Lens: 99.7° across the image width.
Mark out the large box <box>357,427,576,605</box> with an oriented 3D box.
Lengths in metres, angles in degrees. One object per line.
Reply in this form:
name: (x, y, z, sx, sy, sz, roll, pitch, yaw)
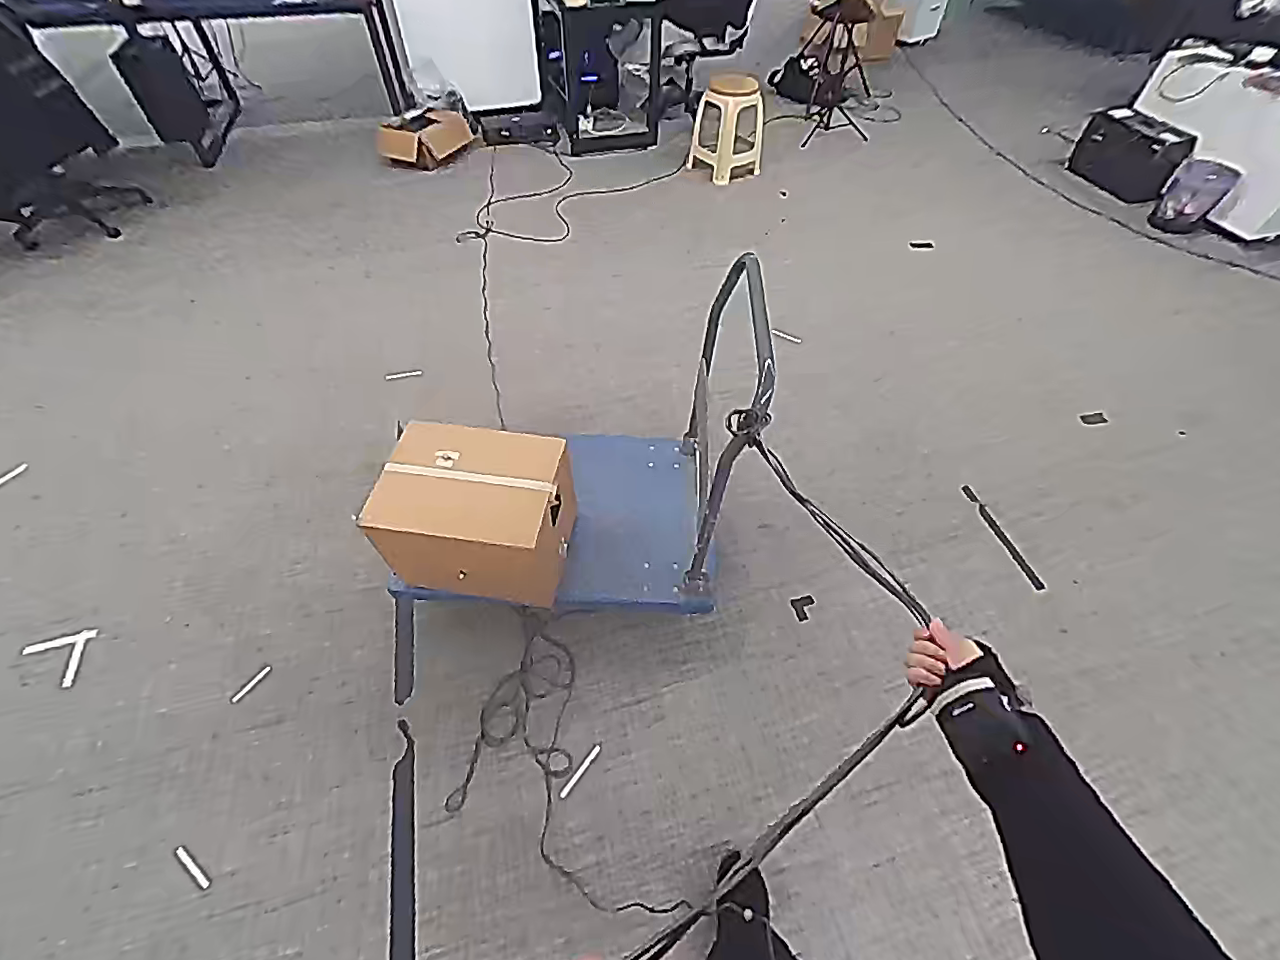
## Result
large box: (-0.395, 0.097, 1.359, 0.408, 0.320, 0.320, 6, 53, 5)
